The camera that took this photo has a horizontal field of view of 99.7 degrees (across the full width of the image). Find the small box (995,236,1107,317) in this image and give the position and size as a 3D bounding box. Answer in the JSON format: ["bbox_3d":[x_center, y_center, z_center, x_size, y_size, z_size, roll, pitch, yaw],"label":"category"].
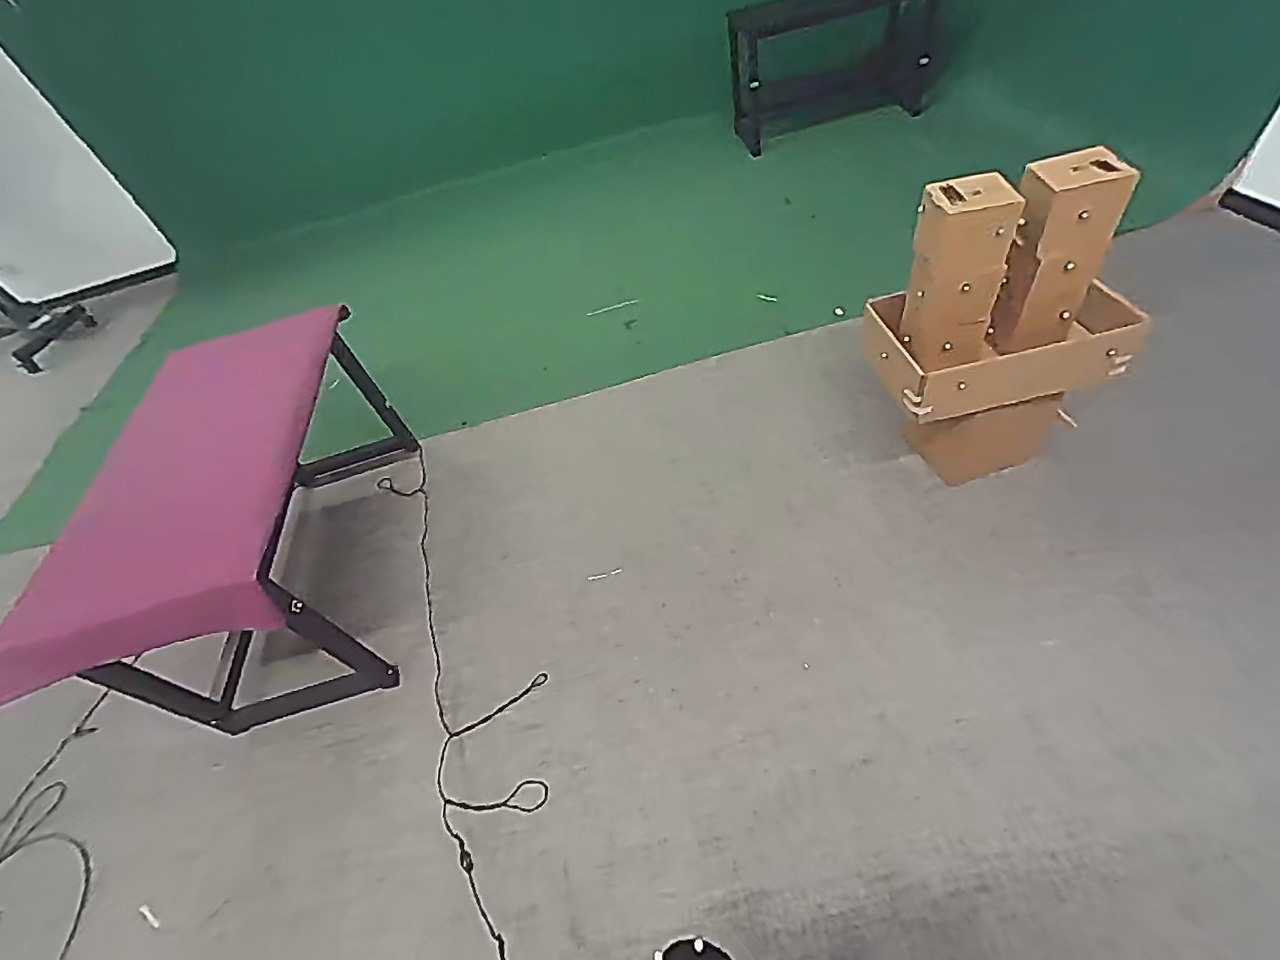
[{"bbox_3d":[1.114,-0.580,1.493,0.179,0.176,0.168,-16,49,4],"label":"small box"}]

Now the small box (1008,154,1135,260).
[{"bbox_3d":[1.082,-0.688,1.374,0.179,0.176,0.168,-9,49,11],"label":"small box"}]

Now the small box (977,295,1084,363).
[{"bbox_3d":[1.152,-0.478,1.612,0.179,0.176,0.168,-15,47,3],"label":"small box"}]

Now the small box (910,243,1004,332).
[{"bbox_3d":[0.871,-0.532,1.512,0.179,0.176,0.168,-5,50,9],"label":"small box"}]
